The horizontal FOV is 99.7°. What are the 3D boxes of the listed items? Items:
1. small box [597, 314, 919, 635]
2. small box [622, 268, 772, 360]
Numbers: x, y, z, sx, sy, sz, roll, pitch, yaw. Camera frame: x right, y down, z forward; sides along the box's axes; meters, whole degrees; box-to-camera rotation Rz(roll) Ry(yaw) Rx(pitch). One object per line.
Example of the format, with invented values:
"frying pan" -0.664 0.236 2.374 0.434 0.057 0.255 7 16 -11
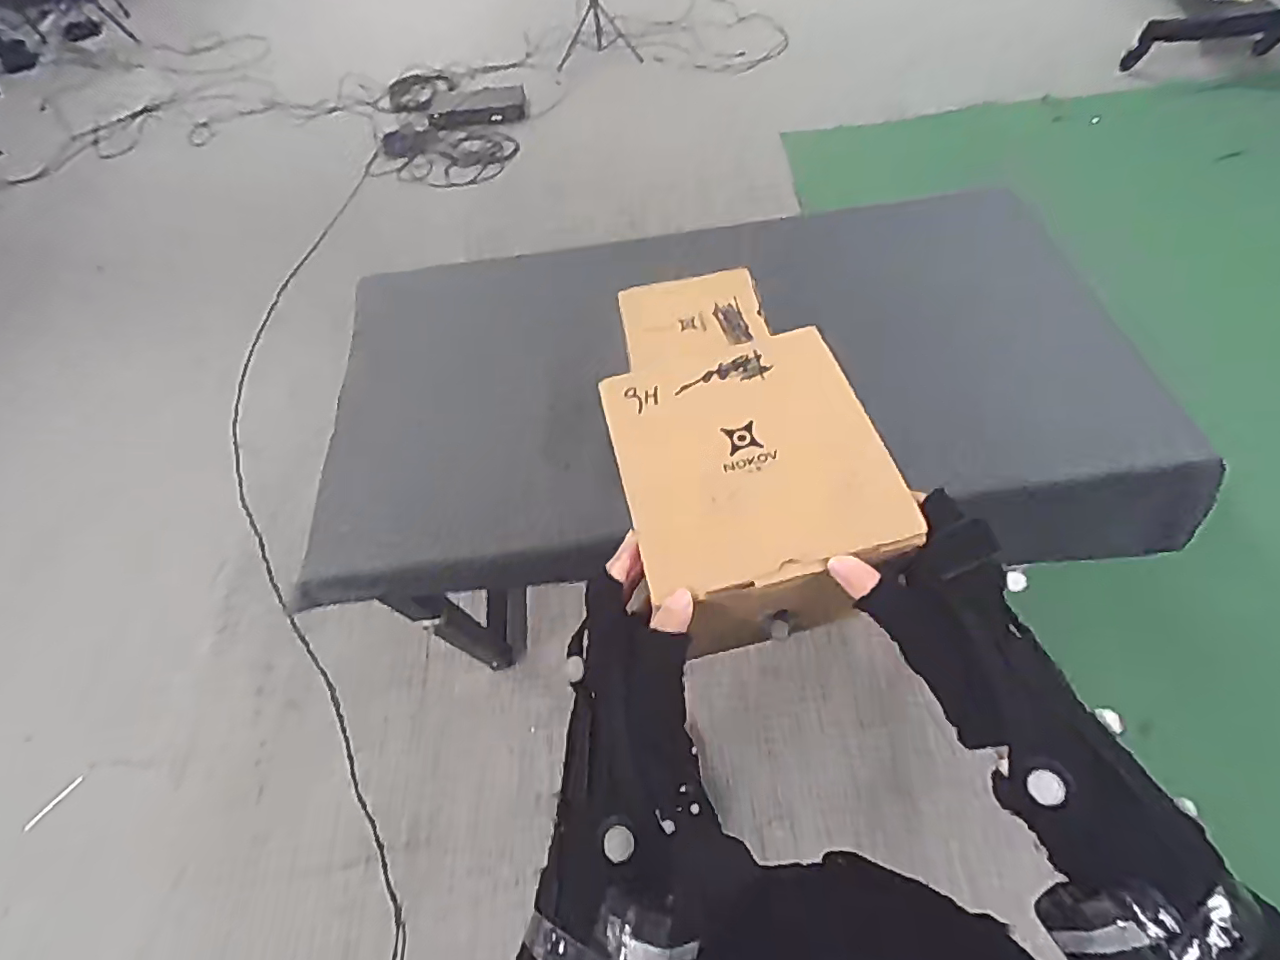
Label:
"small box" 0.075 0.011 0.417 0.168 0.176 0.179 -14 62 0
"small box" 0.079 -0.153 0.733 0.179 0.176 0.168 -11 60 -2
